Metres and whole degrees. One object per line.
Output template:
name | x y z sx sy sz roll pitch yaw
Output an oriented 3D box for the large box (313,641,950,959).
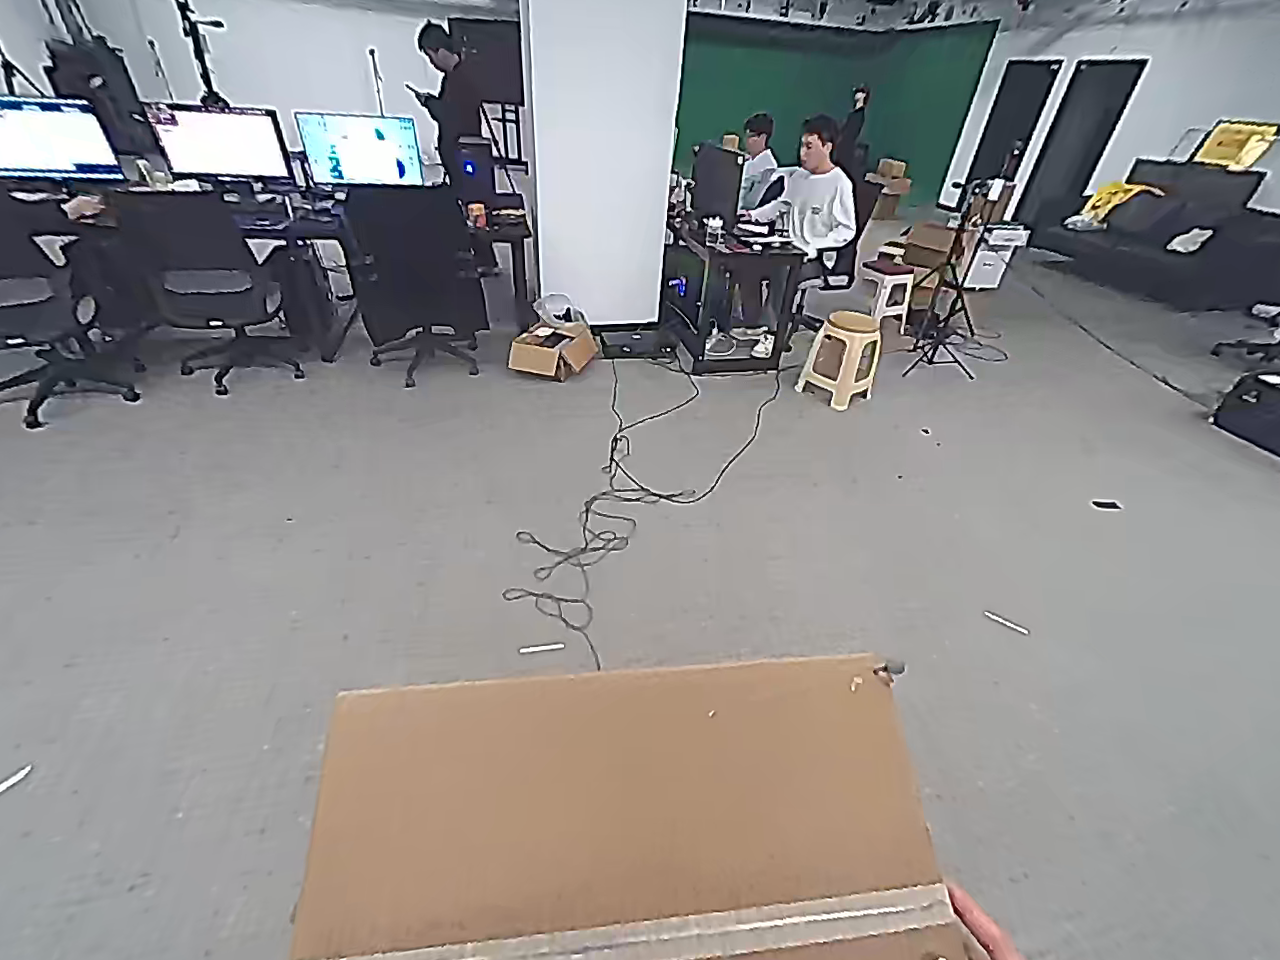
large box | -0.013 0.344 0.478 0.408 0.320 0.320 -2 64 -6
